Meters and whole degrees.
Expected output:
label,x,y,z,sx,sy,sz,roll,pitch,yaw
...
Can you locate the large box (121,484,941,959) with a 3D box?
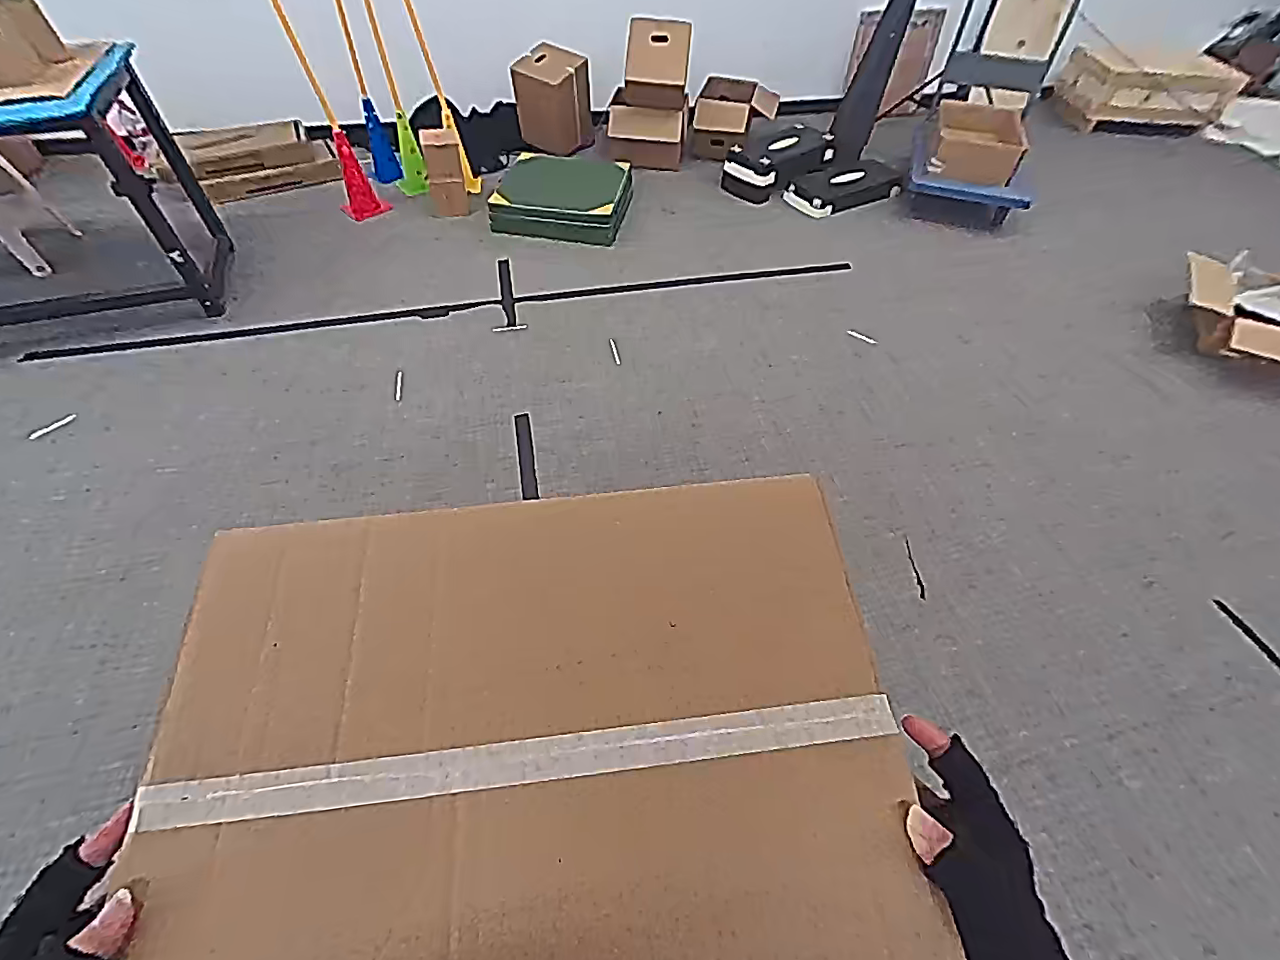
label,x,y,z,sx,sy,sz,roll,pitch,yaw
large box,-0.061,0.226,0.438,0.408,0.320,0.320,-6,61,-3
